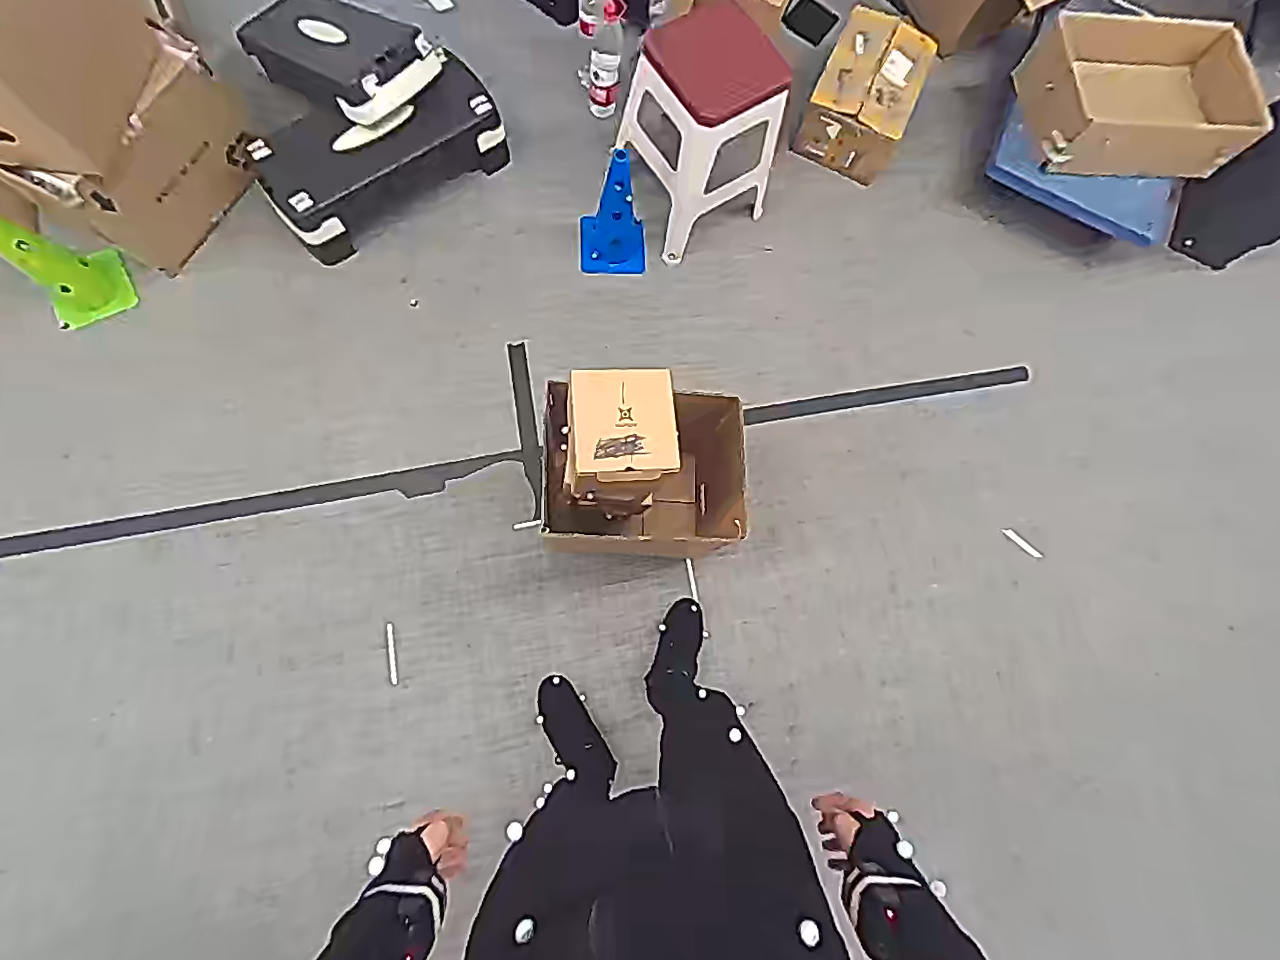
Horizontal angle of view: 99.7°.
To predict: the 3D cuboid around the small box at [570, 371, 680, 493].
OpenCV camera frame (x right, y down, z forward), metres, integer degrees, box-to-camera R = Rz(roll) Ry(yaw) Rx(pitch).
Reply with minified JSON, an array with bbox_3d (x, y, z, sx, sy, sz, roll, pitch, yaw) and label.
[{"bbox_3d":[-0.033,-0.075,0.932,0.168,0.176,0.179,-2,78,-10],"label":"small box"}]
